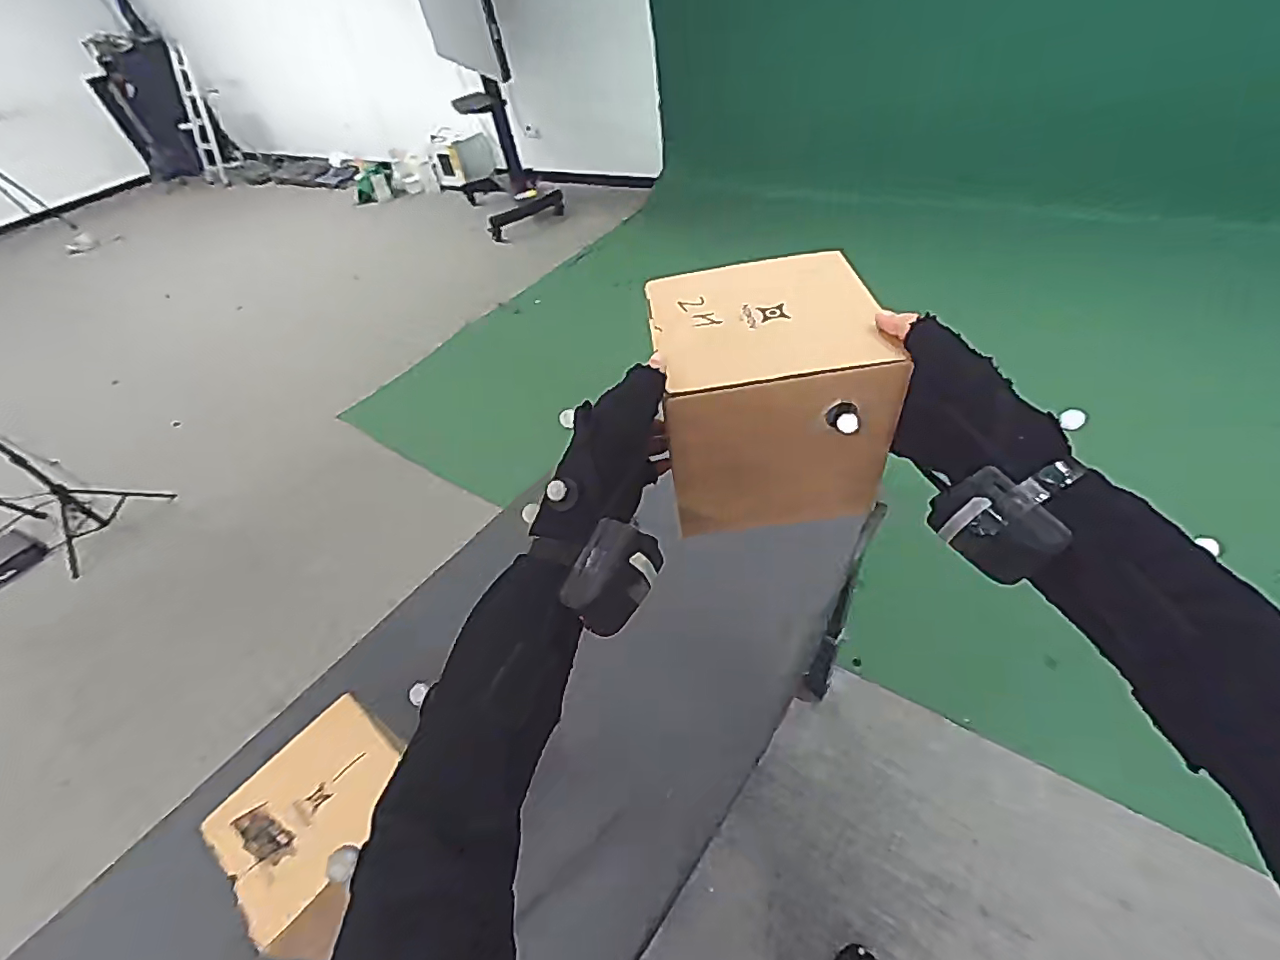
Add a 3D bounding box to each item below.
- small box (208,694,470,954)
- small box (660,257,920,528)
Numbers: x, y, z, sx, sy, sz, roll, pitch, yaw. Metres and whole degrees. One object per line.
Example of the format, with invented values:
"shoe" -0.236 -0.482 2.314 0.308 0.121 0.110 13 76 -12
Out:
"small box" -0.331 0.396 0.625 0.168 0.176 0.179 26 54 31
"small box" 0.117 -0.075 0.495 0.179 0.176 0.168 -8 46 3
